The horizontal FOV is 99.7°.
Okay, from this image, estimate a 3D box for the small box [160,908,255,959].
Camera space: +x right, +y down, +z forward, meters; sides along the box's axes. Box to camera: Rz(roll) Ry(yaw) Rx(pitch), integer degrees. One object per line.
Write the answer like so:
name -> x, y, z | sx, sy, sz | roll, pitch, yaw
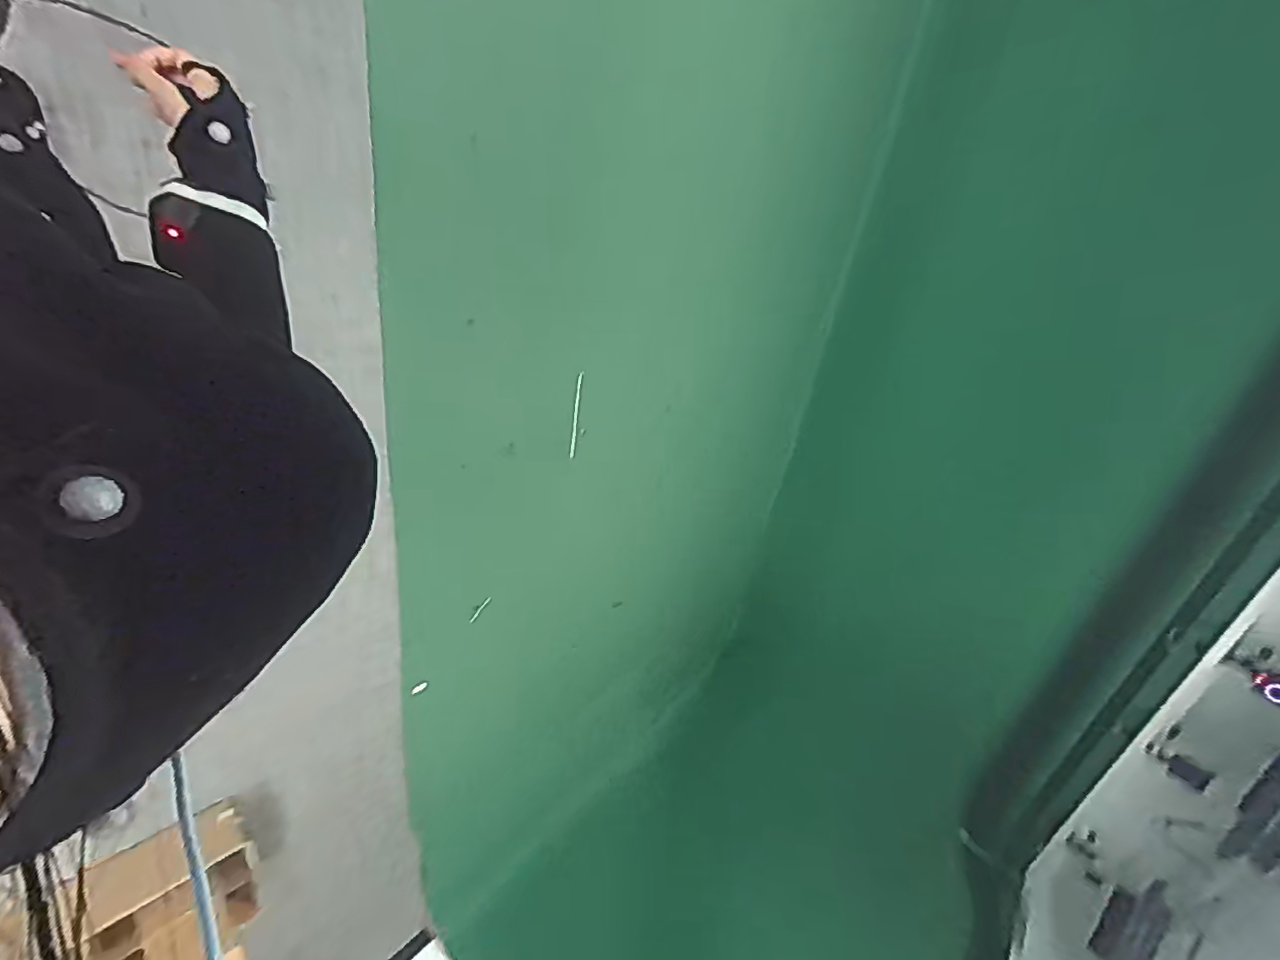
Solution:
small box -> -1.202, 1.366, 1.514 | 0.179, 0.176, 0.168 | -20, 127, -44
